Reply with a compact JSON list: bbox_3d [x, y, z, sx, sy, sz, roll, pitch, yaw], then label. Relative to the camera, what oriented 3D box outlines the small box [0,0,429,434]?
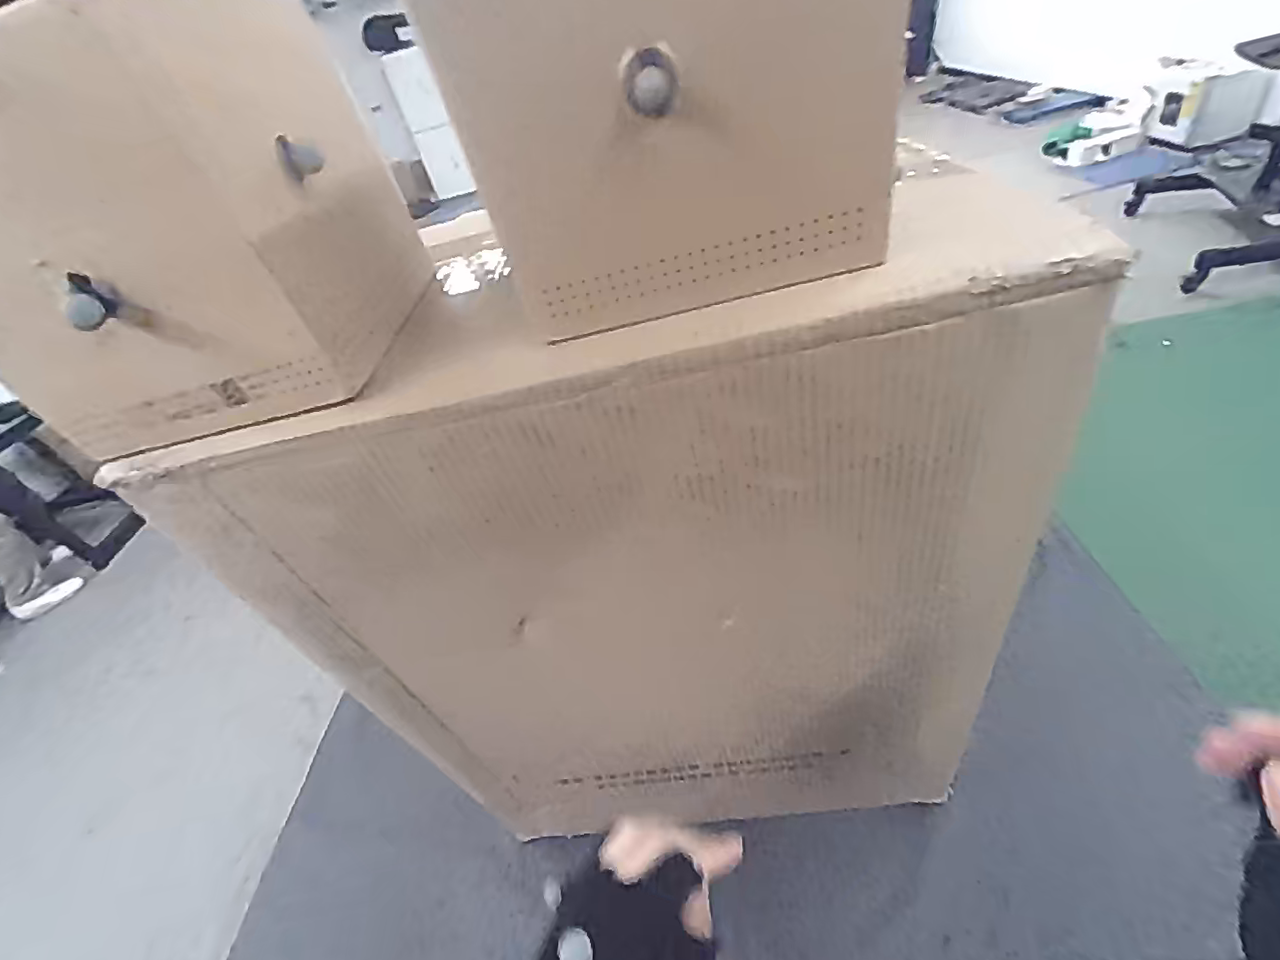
[{"bbox_3d":[-0.248,-0.142,0.307,0.168,0.176,0.179,-11,42,8],"label":"small box"}]

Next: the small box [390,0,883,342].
[{"bbox_3d":[0.009,-0.194,0.273,0.179,0.176,0.168,-11,41,9],"label":"small box"}]
